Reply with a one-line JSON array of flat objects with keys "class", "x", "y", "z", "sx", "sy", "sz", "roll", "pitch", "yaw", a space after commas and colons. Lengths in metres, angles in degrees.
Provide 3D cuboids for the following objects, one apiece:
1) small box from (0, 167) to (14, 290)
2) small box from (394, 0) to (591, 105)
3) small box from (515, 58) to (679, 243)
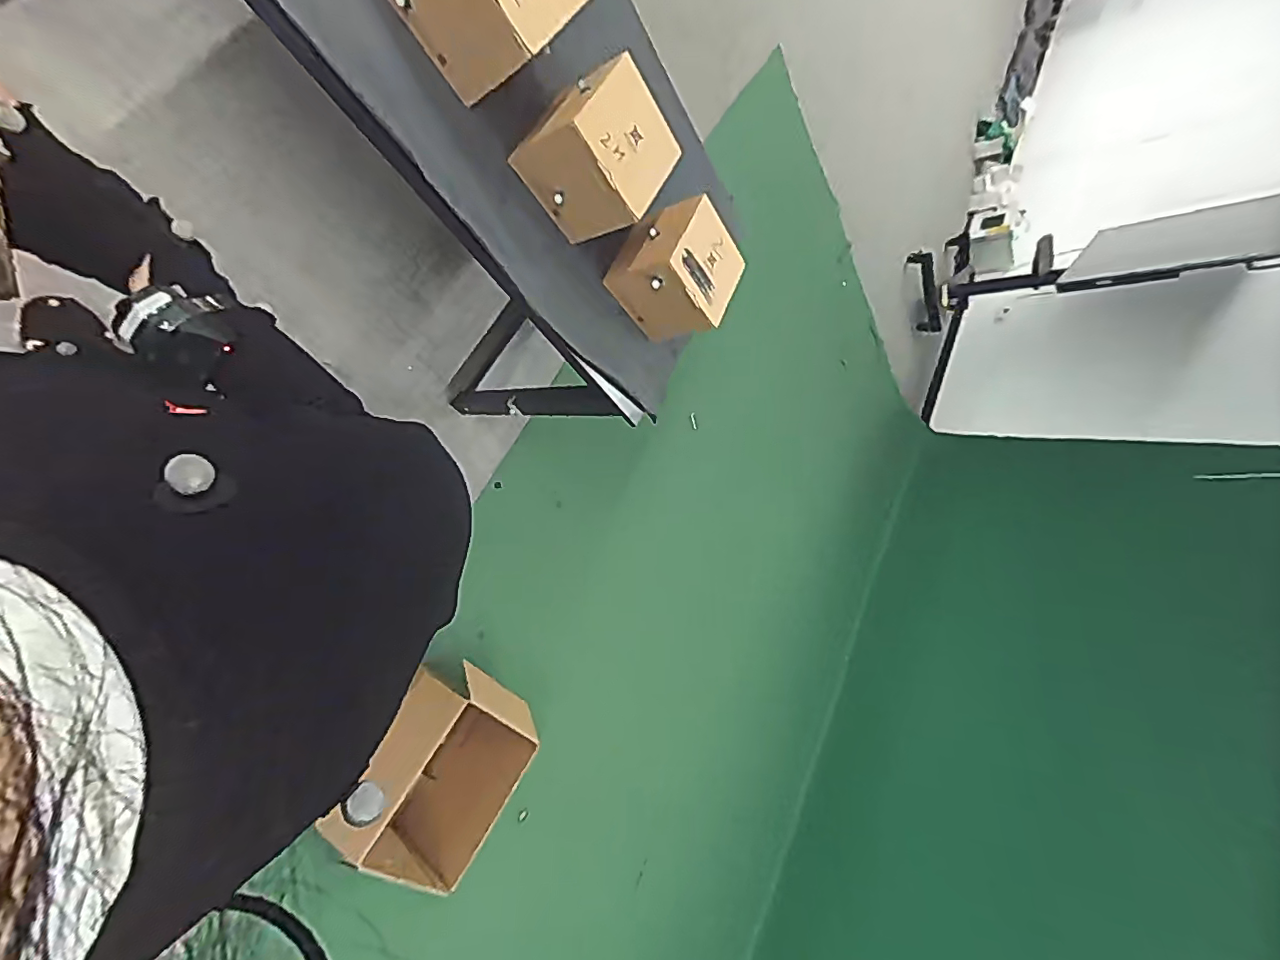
[{"class": "small box", "x": -0.457, "y": -0.207, "z": 0.273, "sx": 0.168, "sy": 0.176, "sz": 0.179, "roll": -11, "pitch": 101, "yaw": -48}, {"class": "small box", "x": -0.205, "y": -0.654, "z": 0.726, "sx": 0.168, "sy": 0.176, "sz": 0.179, "roll": 47, "pitch": 61, "yaw": -39}, {"class": "small box", "x": -0.072, "y": -0.522, "z": 0.879, "sx": 0.168, "sy": 0.176, "sz": 0.179, "roll": 44, "pitch": 64, "yaw": -39}]
